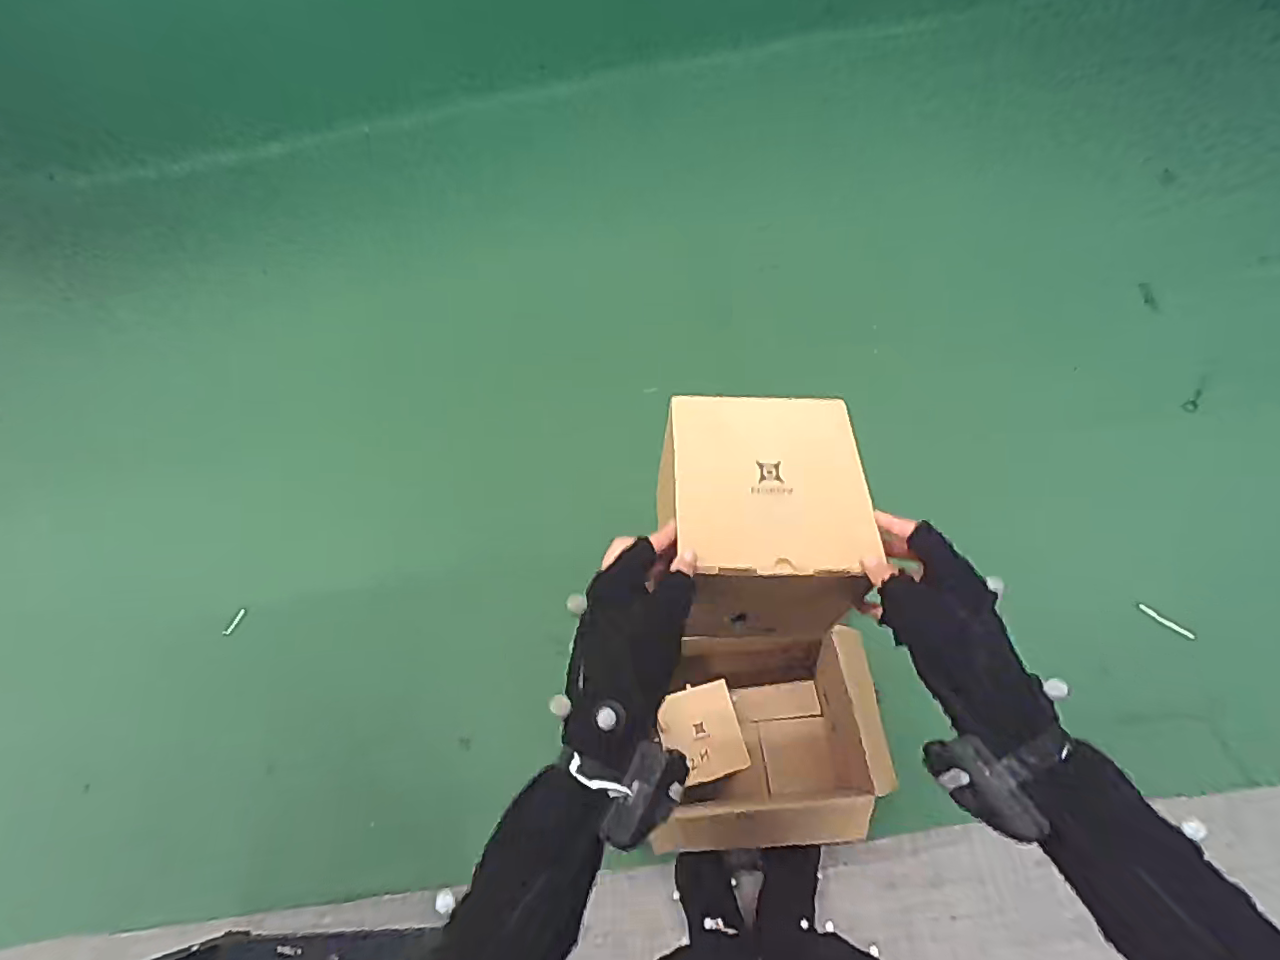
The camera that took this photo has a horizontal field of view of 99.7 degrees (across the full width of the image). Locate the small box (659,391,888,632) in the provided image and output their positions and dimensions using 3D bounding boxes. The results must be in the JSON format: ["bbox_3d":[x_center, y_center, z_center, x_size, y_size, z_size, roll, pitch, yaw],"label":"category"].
[{"bbox_3d":[0.107,0.035,0.526,0.168,0.176,0.179,1,58,-2],"label":"small box"}]
